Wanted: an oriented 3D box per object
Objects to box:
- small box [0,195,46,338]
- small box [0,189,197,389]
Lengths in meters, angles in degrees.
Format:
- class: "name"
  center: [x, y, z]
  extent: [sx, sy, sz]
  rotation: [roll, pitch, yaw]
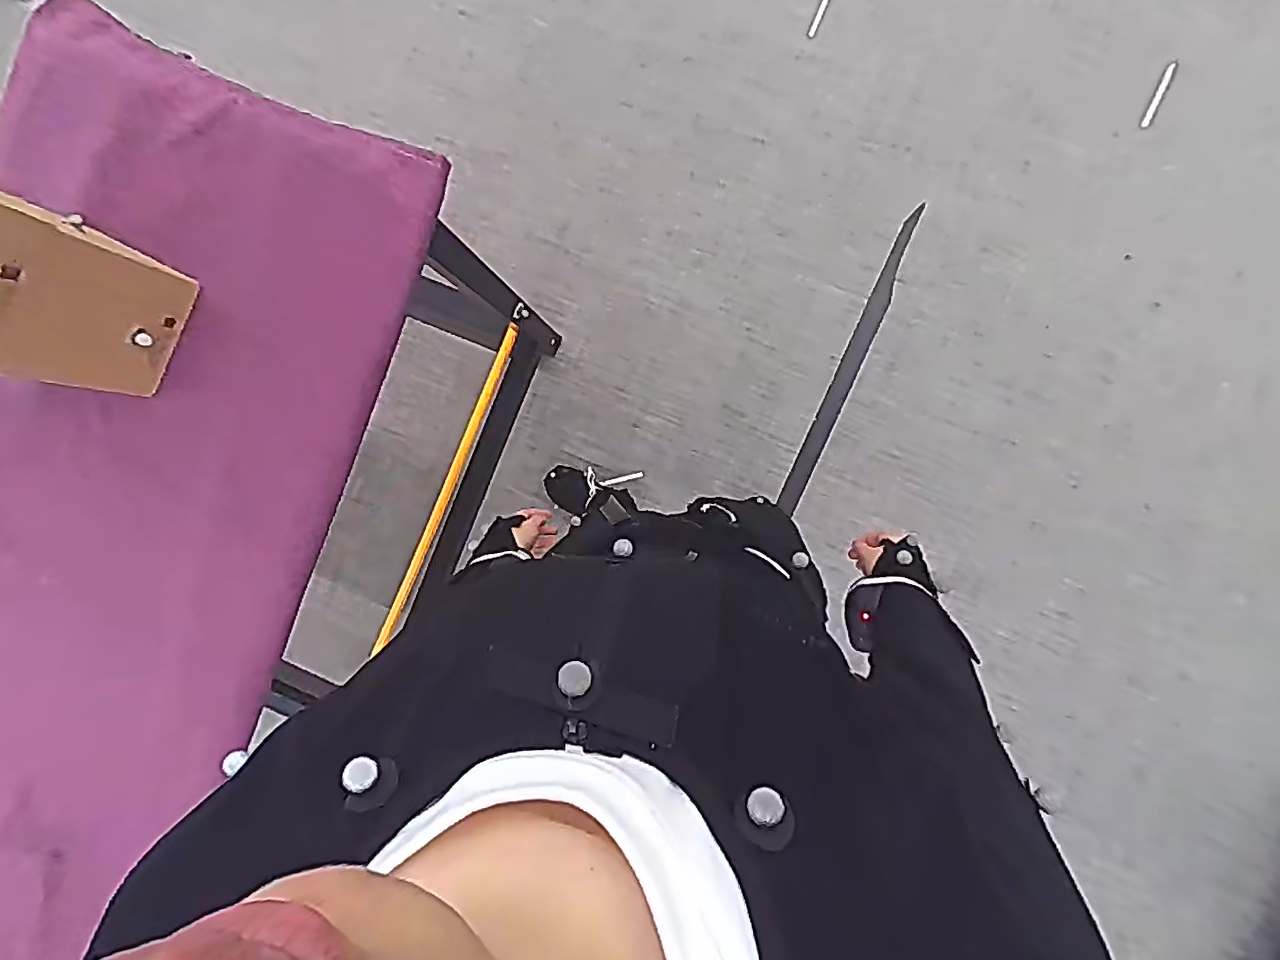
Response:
- class: "small box"
  center: [-0.702, -0.221, 0.466]
  extent: [0.179, 0.176, 0.168]
  rotation: [26, 94, 4]
- class: "small box"
  center: [-0.688, -0.220, 0.630]
  extent: [0.179, 0.176, 0.168]
  rotation: [27, 93, 4]
